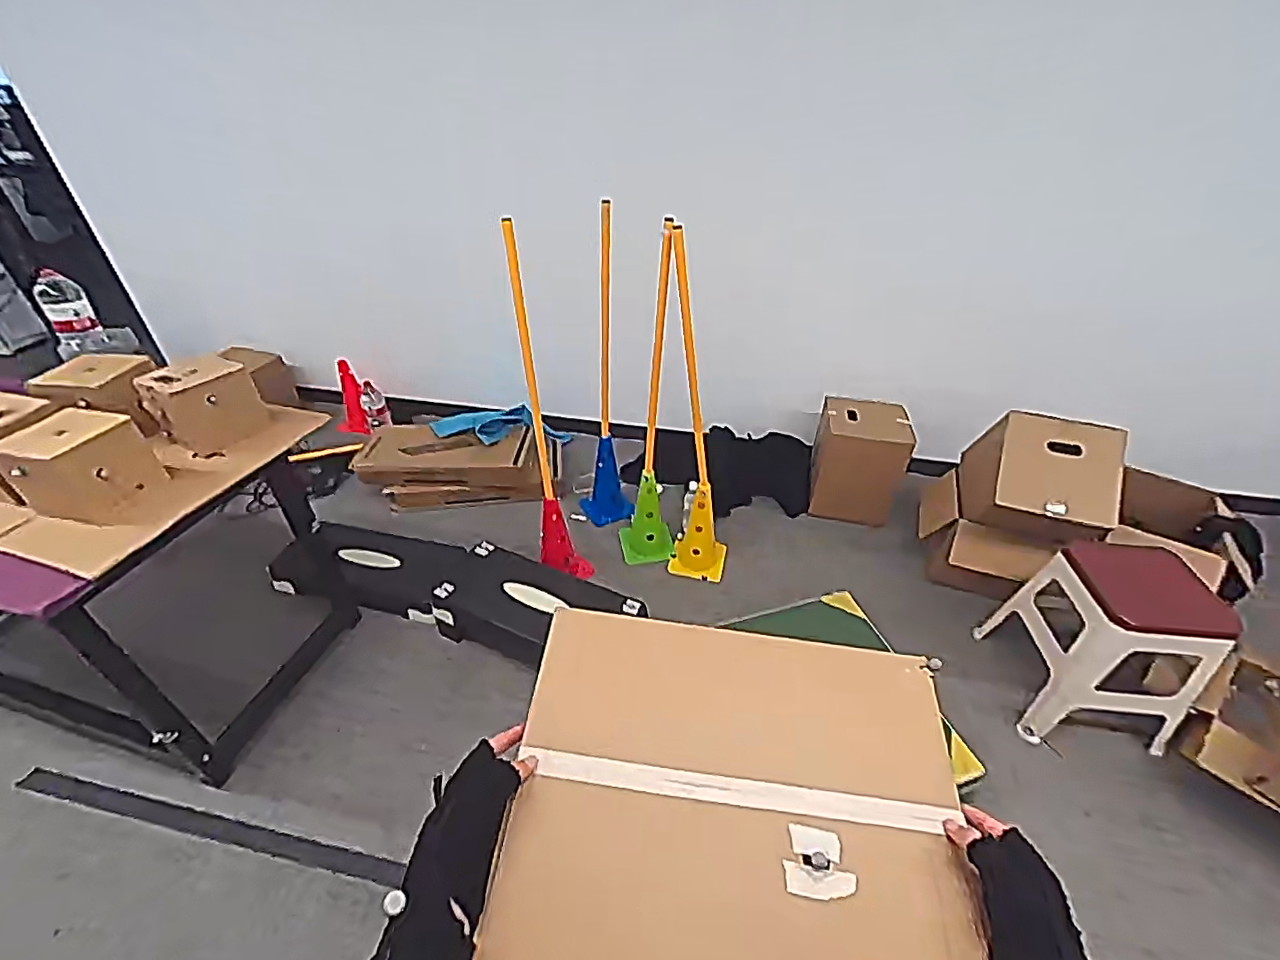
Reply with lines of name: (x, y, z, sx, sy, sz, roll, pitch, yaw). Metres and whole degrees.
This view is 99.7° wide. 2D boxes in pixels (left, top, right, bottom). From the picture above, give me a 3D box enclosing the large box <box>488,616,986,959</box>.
large box: (0.084, 0.387, 0.617, 0.408, 0.320, 0.320, 7, 50, 3)
